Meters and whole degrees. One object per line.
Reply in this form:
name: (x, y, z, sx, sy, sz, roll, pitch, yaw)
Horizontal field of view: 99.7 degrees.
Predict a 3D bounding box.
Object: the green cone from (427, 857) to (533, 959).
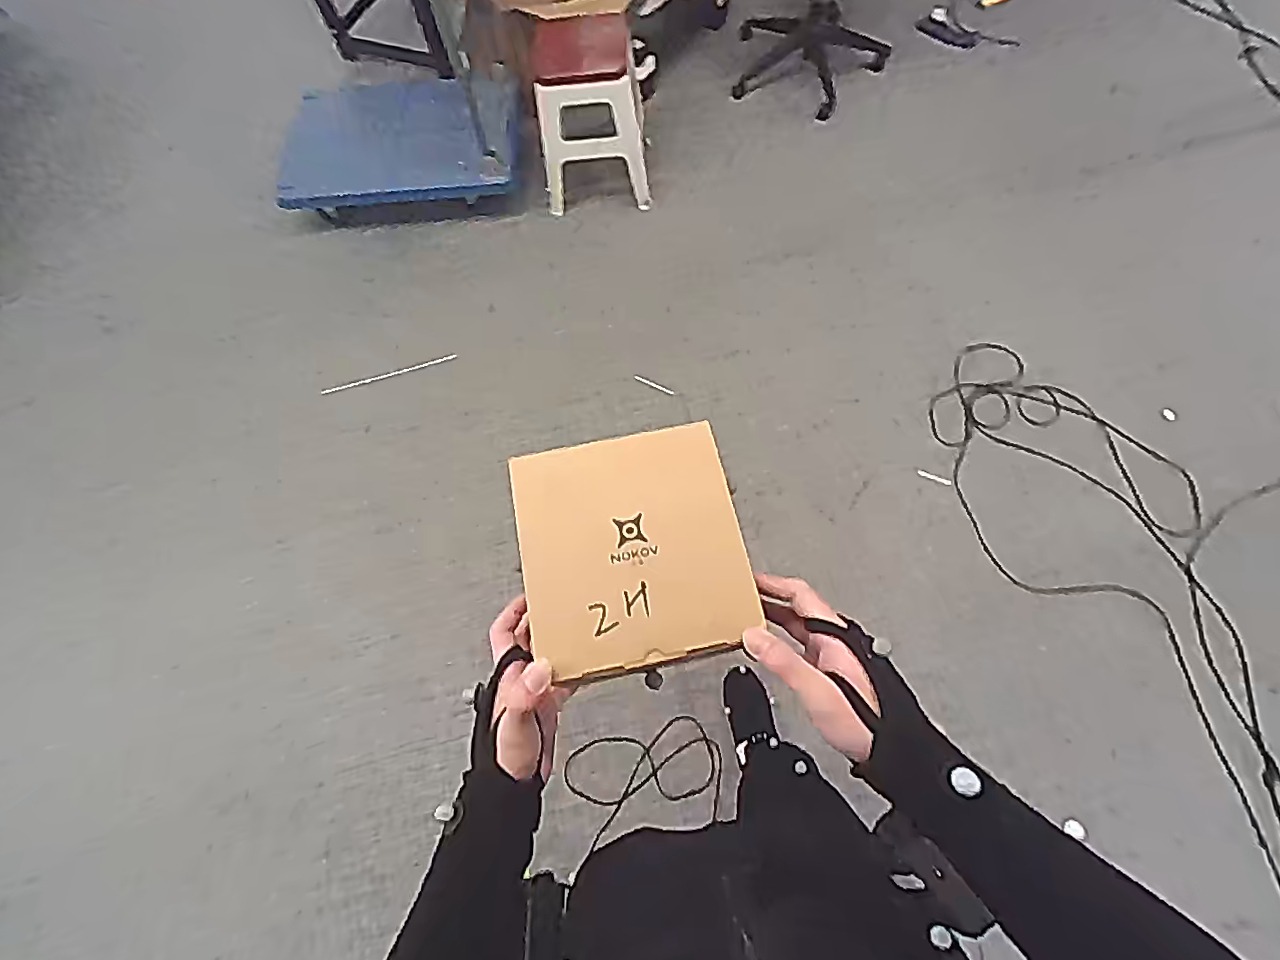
green cone: (-0.363, 0.938, 1.081, 0.202, 0.368, 0.200, -14, 69, -2)
